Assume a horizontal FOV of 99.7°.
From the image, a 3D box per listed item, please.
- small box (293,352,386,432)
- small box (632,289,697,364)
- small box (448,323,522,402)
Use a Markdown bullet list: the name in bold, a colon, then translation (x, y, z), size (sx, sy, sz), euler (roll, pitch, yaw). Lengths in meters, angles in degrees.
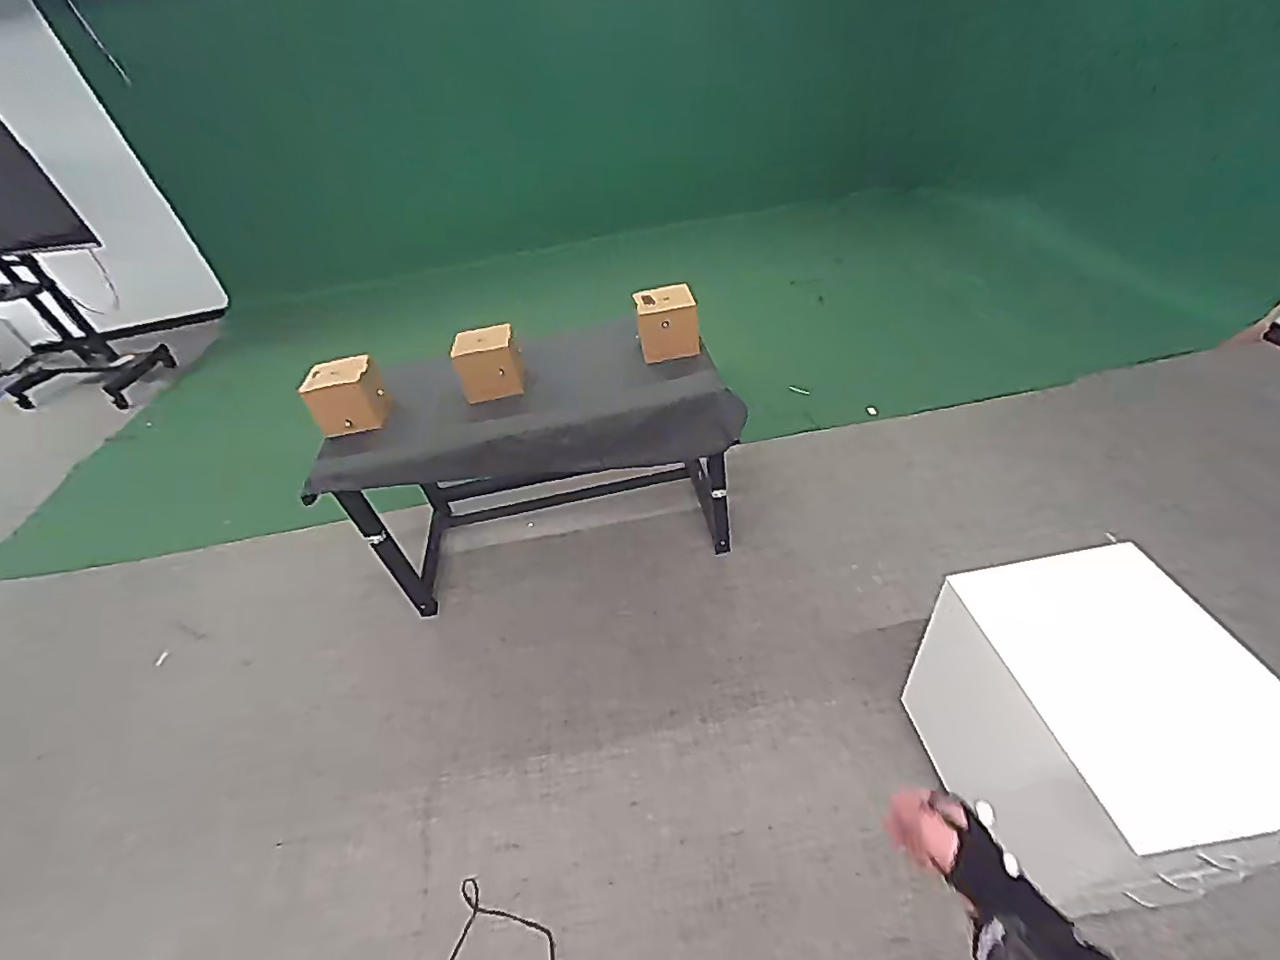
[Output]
- **small box**: translation (-0.900, -0.265, 1.641), size (0.179, 0.176, 0.168), euler (-9, 40, -3)
- **small box**: translation (0.079, -0.483, 1.713), size (0.179, 0.176, 0.168), euler (-9, 41, -1)
- **small box**: translation (-0.473, -0.363, 1.681), size (0.179, 0.176, 0.168), euler (-11, 39, -1)
